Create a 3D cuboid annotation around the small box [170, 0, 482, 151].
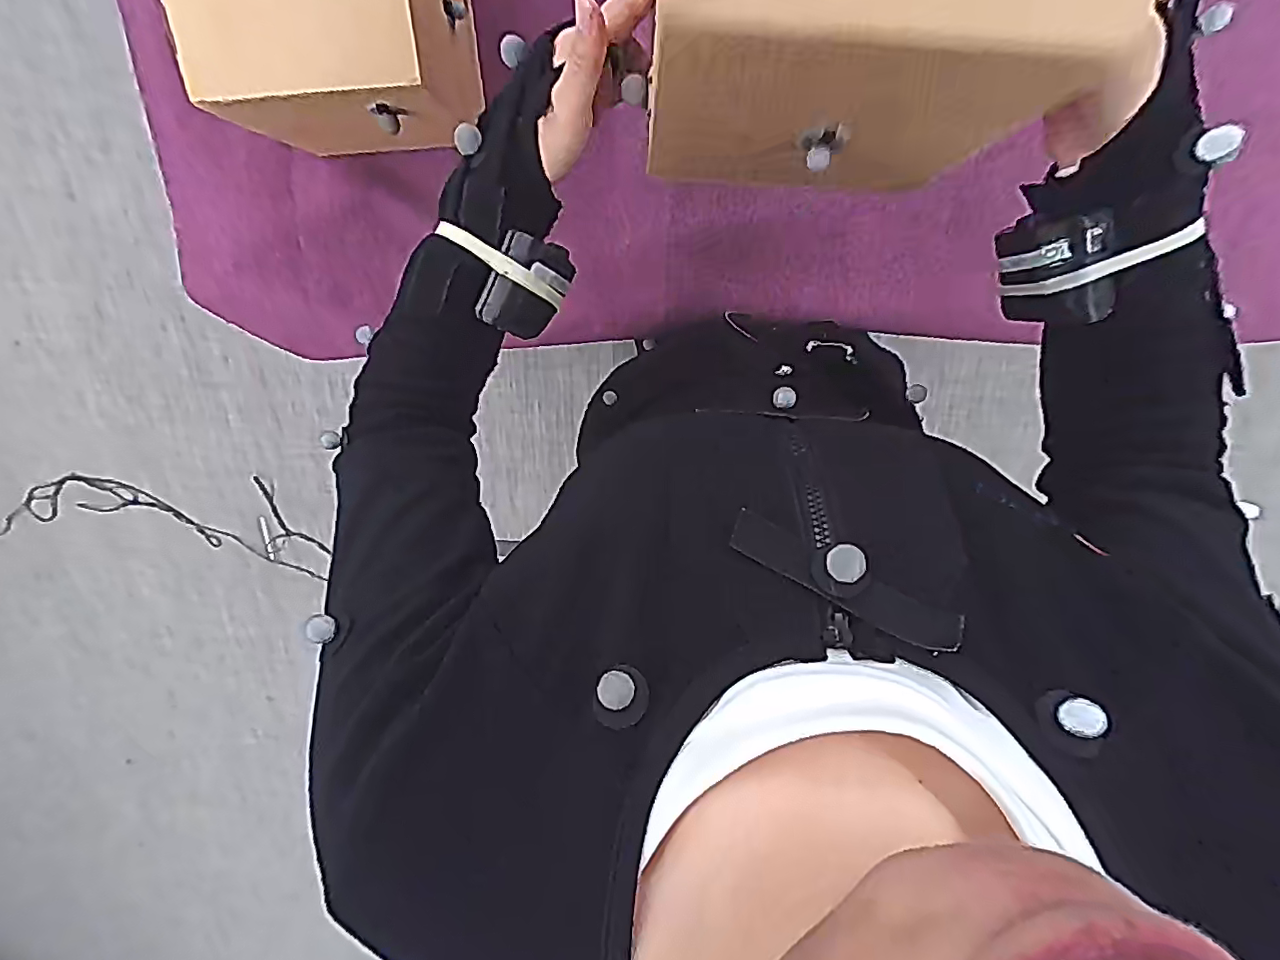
[{"bbox_3d":[-0.238,-0.382,0.438,0.179,0.176,0.168,-2,109,2],"label":"small box"}]
